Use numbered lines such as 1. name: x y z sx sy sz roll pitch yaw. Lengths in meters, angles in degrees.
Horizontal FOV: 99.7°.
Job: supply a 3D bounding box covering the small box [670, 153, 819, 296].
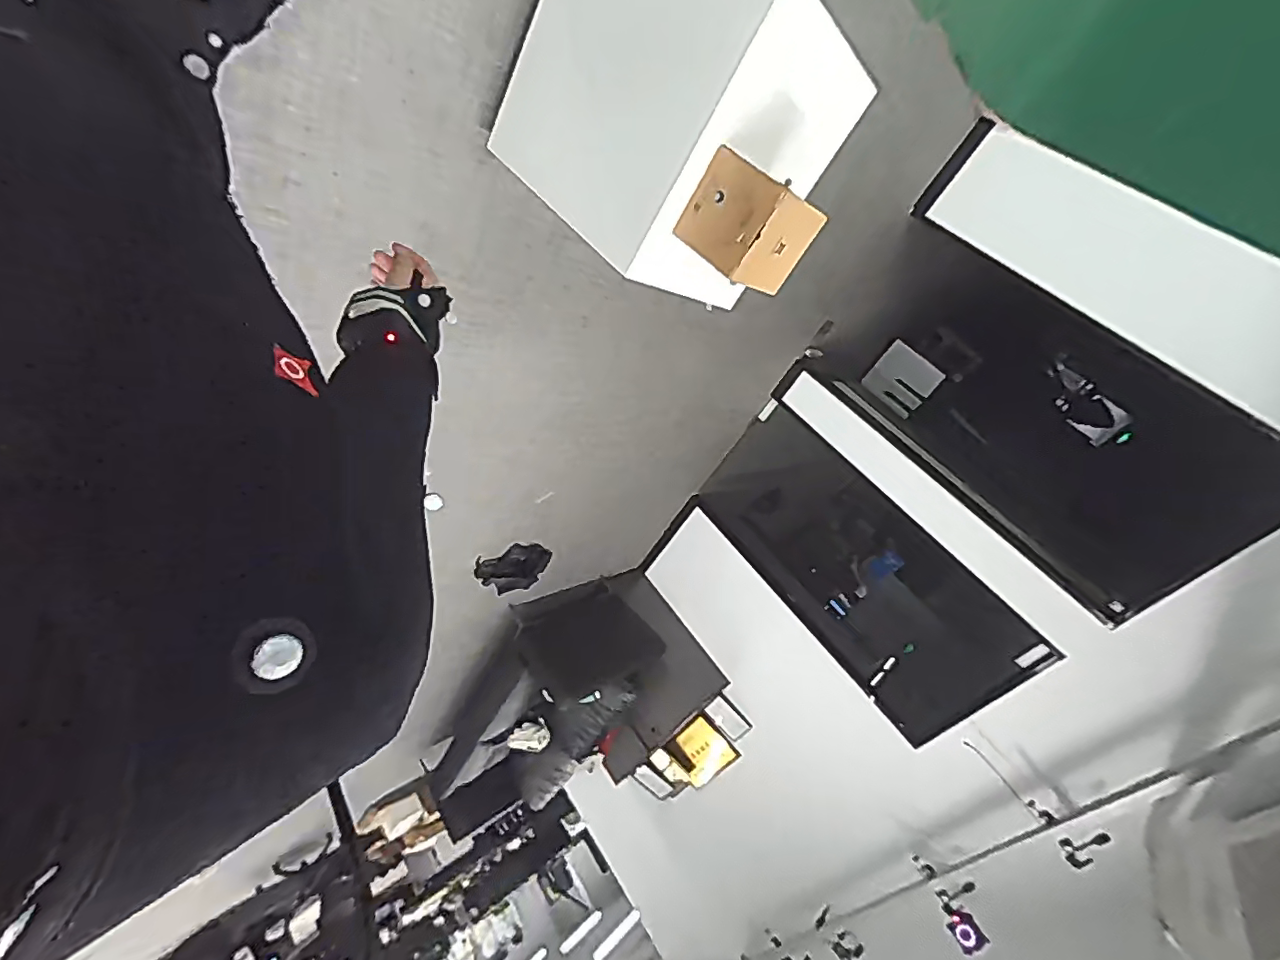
1. small box: 0.191 -0.472 1.008 0.179 0.176 0.168 -10 142 -49
